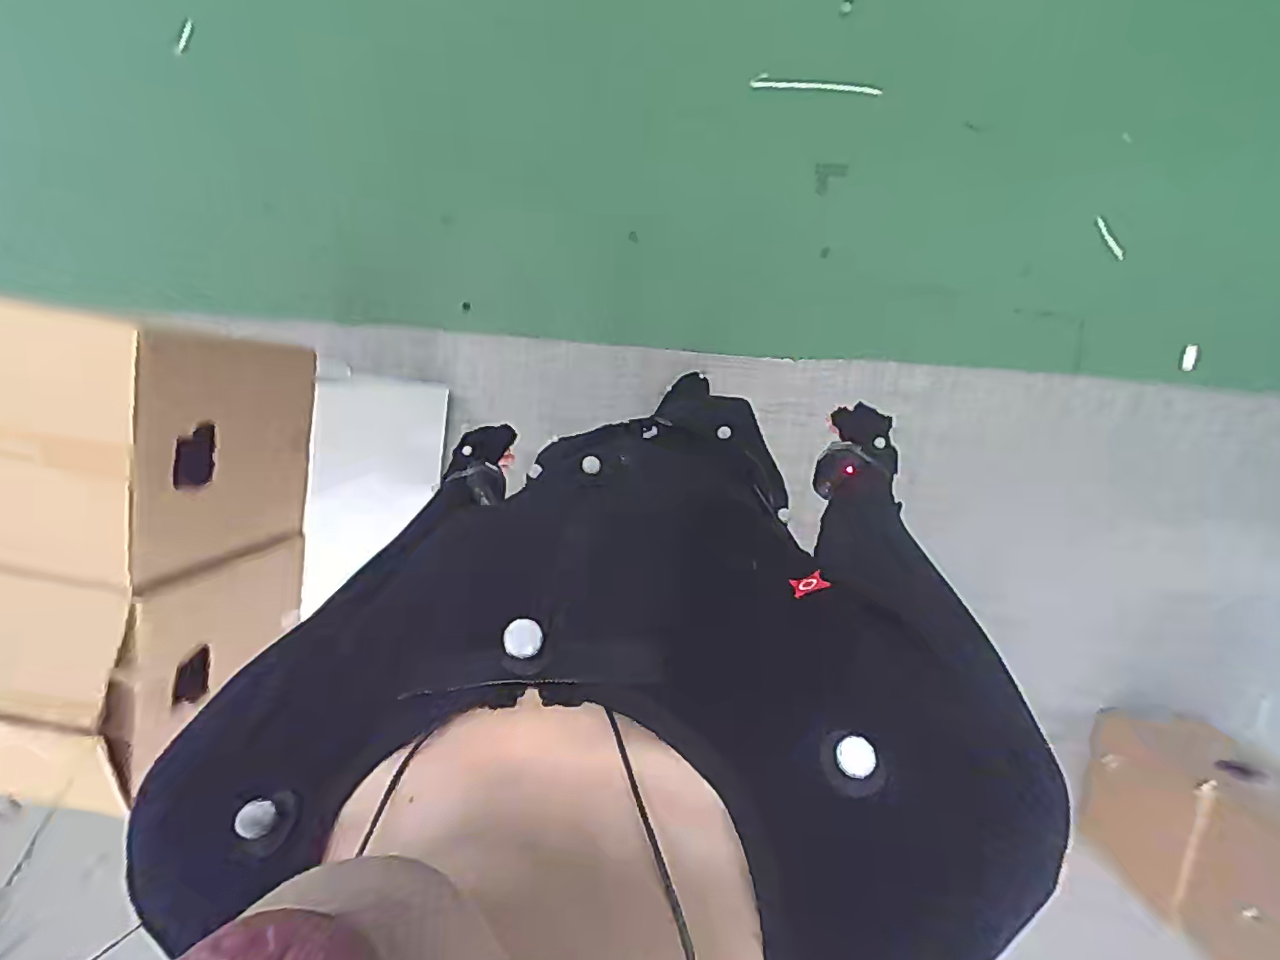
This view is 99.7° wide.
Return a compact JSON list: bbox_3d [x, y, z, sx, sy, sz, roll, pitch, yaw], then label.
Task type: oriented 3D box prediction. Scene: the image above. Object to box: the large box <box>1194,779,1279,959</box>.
[{"bbox_3d":[1.444,0.903,1.086,0.320,0.320,0.408,6,99,7],"label":"large box"}]
